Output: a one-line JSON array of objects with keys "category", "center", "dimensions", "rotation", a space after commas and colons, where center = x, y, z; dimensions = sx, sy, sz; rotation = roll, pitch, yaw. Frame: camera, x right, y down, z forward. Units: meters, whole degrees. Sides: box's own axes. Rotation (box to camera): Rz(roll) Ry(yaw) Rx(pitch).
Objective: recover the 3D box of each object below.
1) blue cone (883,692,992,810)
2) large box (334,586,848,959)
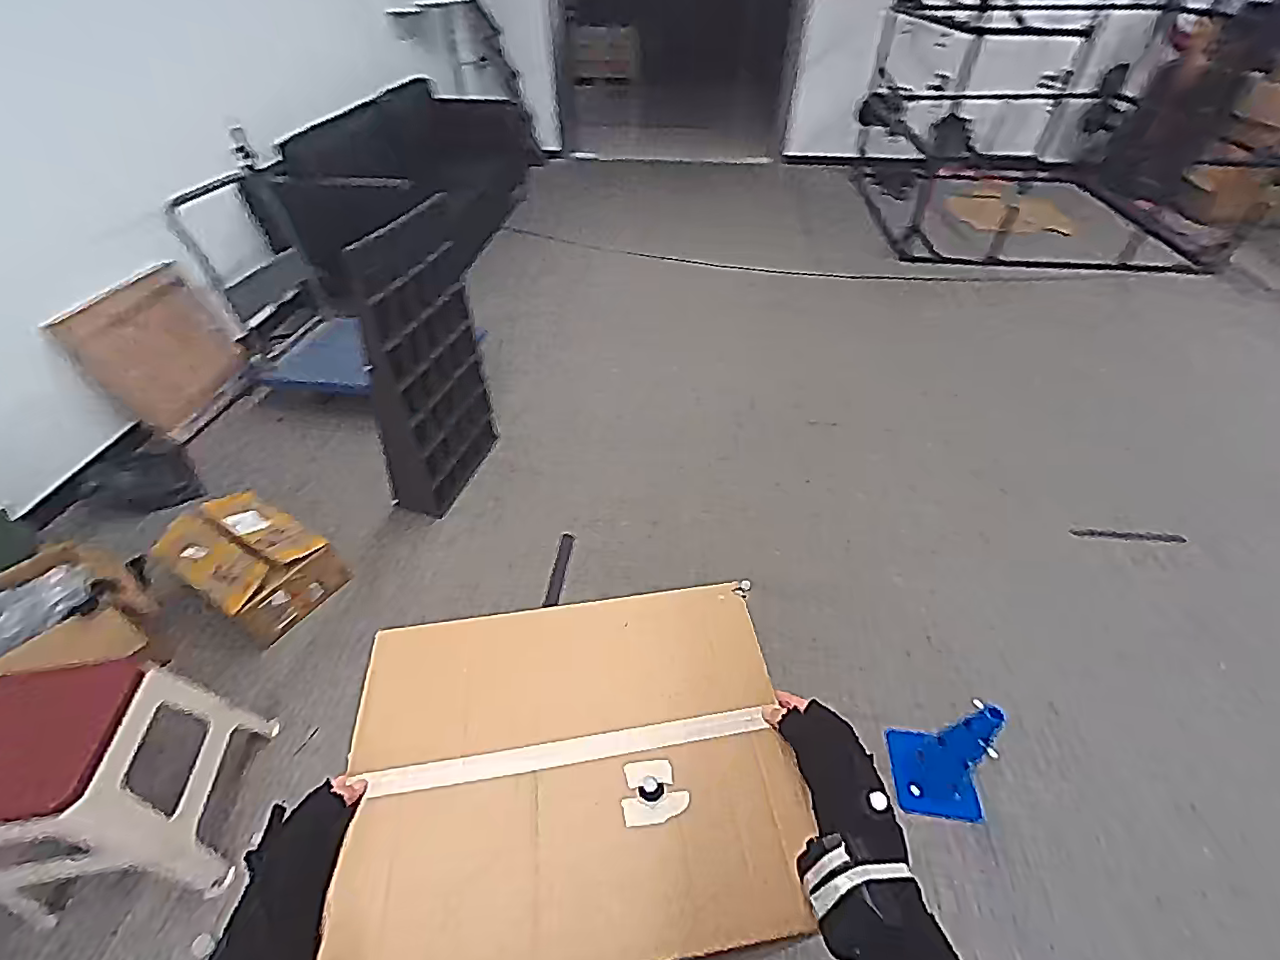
[{"category": "blue cone", "center": [0.737, 0.615, 1.279], "dimensions": [0.193, 0.380, 0.192], "rotation": [7, 43, 6]}, {"category": "large box", "center": [-0.052, 0.356, 0.613], "dimensions": [0.408, 0.320, 0.320], "rotation": [-5, 46, -5]}]
